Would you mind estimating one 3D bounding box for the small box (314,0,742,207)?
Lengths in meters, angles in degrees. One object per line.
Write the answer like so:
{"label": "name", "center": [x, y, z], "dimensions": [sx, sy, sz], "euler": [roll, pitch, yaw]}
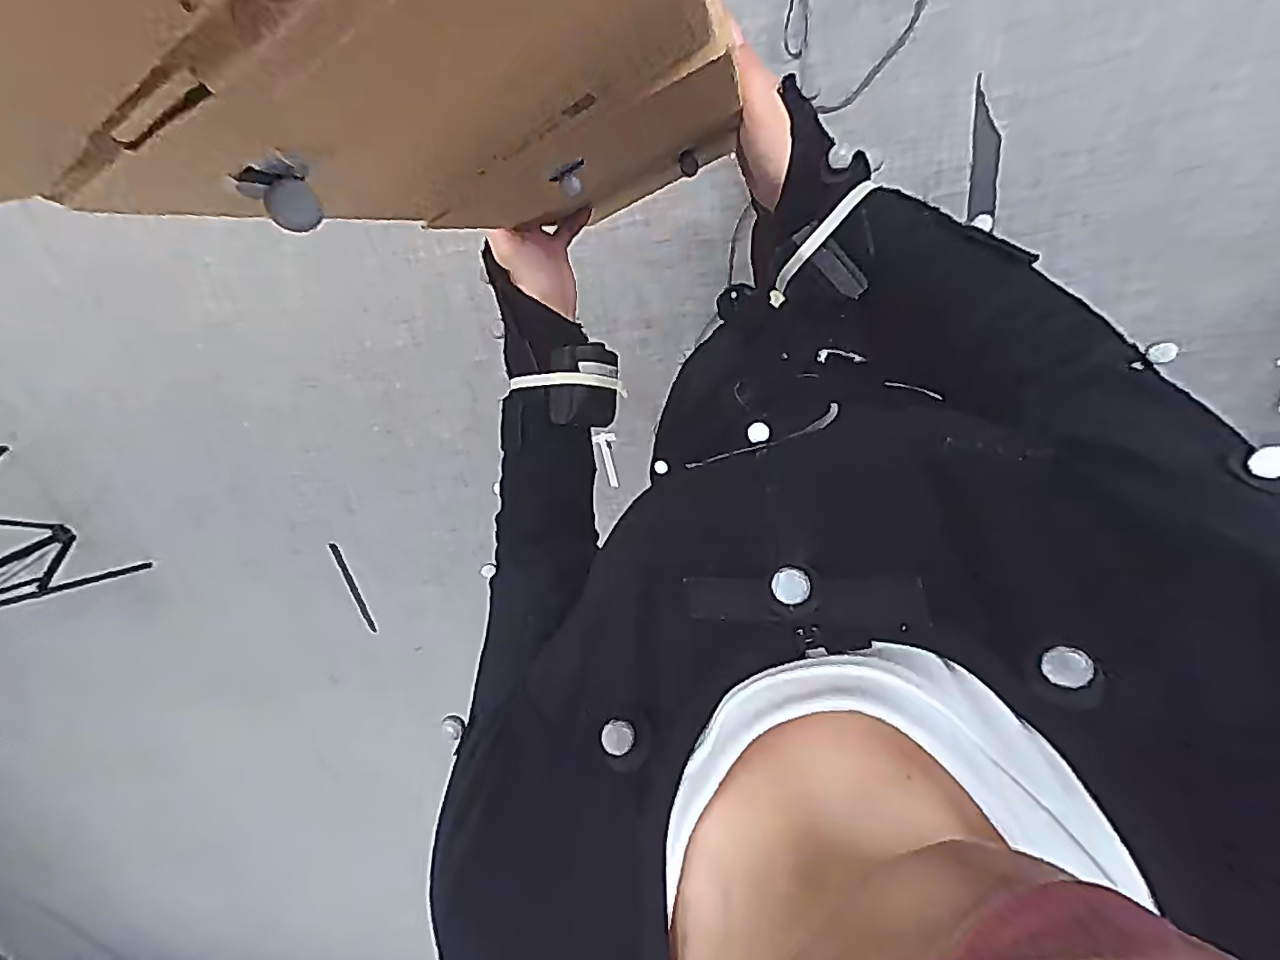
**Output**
{"label": "small box", "center": [-0.052, -0.266, 0.293], "dimensions": [0.179, 0.176, 0.168], "euler": [-18, 110, 18]}
